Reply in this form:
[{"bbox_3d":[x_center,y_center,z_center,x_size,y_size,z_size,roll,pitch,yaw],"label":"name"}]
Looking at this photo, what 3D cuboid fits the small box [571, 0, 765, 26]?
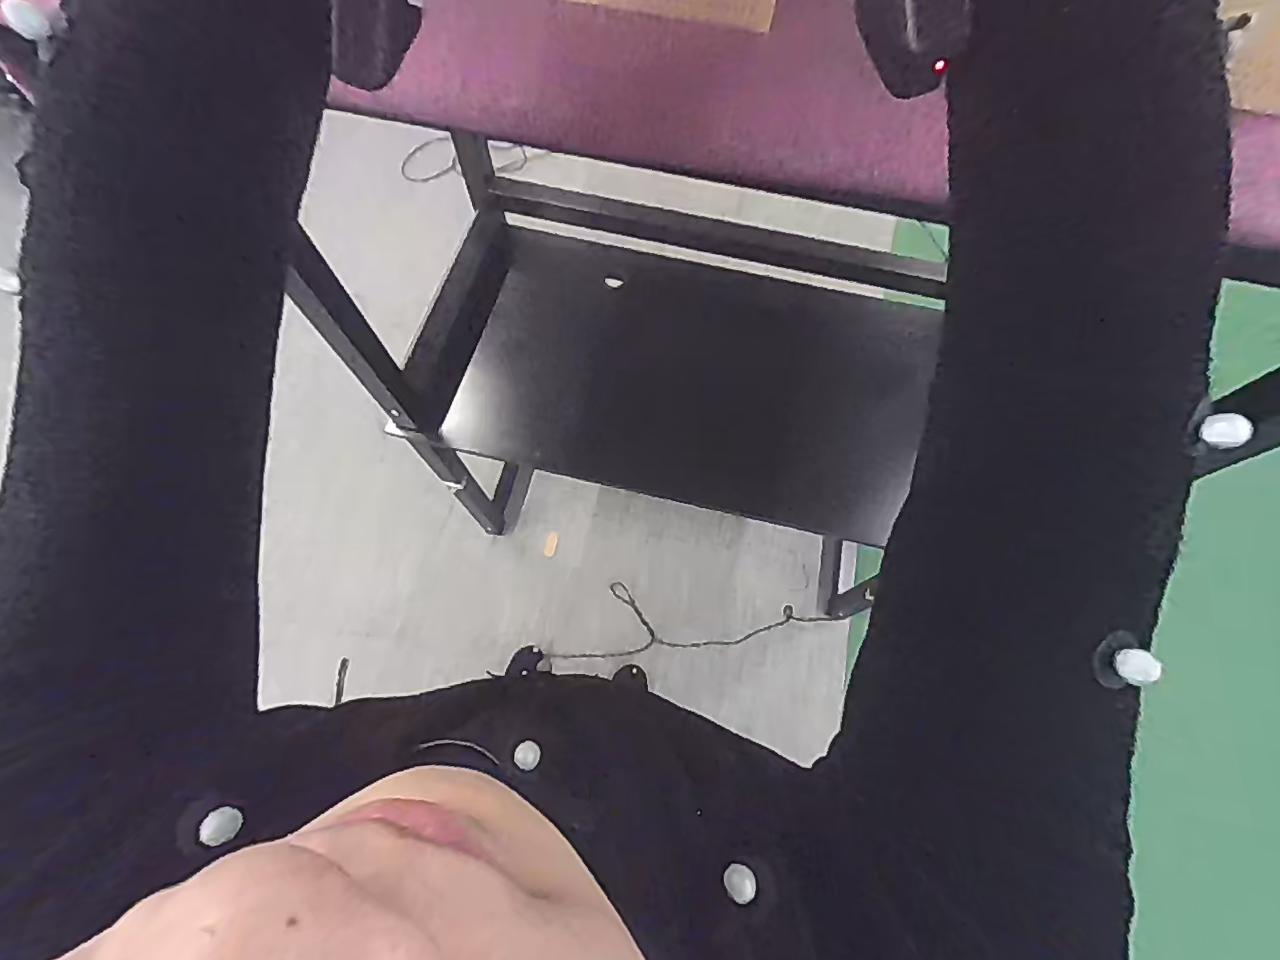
[{"bbox_3d":[0.031,-0.460,0.373,0.179,0.176,0.168,13,67,5],"label":"small box"}]
